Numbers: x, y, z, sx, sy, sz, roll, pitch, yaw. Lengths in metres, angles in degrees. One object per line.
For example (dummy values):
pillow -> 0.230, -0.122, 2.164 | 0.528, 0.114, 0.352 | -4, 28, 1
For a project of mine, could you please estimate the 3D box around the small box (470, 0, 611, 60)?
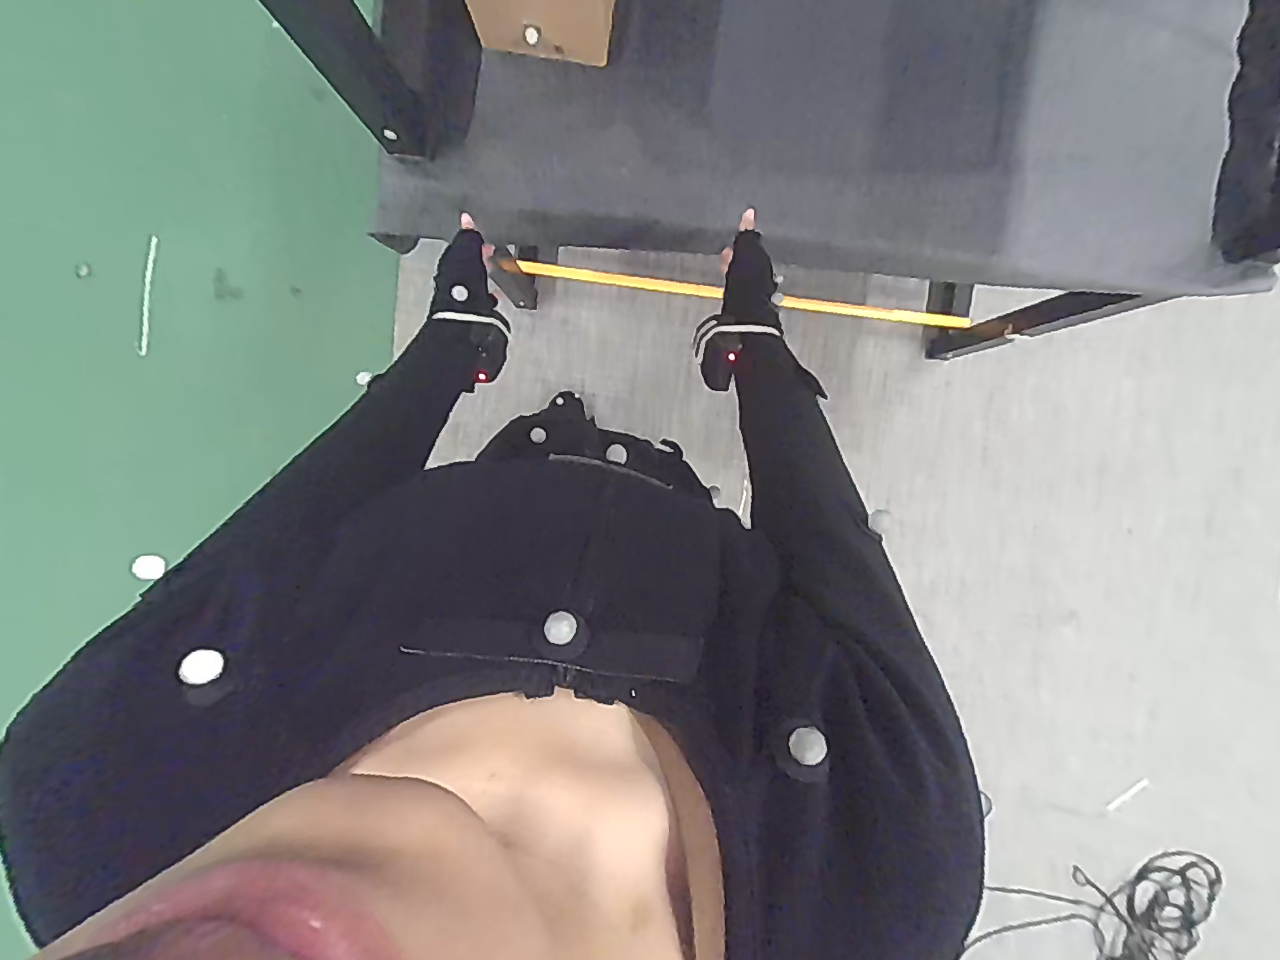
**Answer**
small box -> -0.116, -0.641, 0.621 | 0.168, 0.176, 0.179 | 8, 95, -2
